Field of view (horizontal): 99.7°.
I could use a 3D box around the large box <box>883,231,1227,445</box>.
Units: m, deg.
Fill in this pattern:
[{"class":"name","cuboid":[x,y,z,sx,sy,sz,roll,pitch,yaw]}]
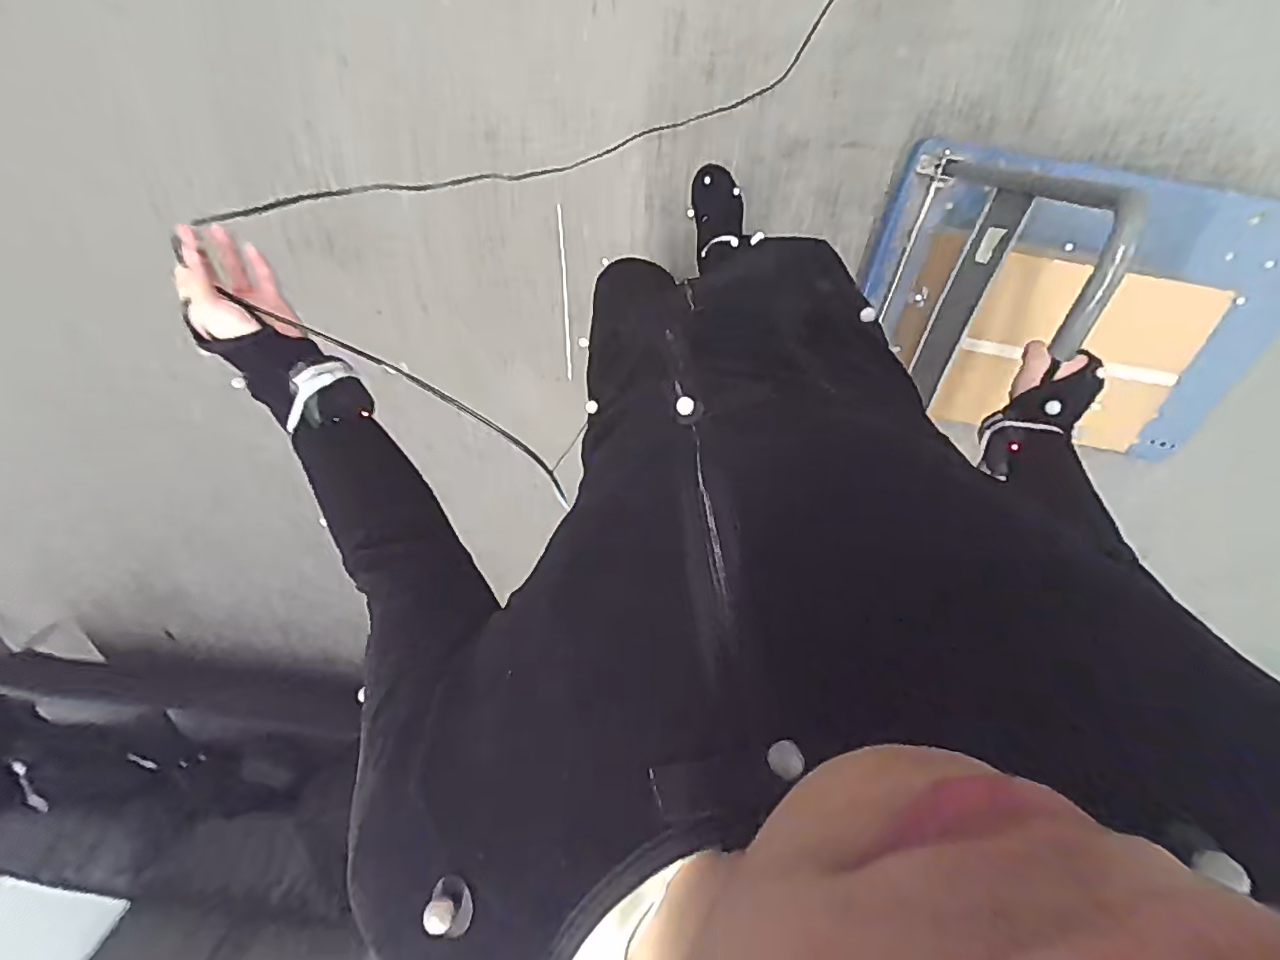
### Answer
[{"class":"large box","cuboid":[0.786,-0.306,1.115,0.408,0.320,0.320,11,123,2]}]
